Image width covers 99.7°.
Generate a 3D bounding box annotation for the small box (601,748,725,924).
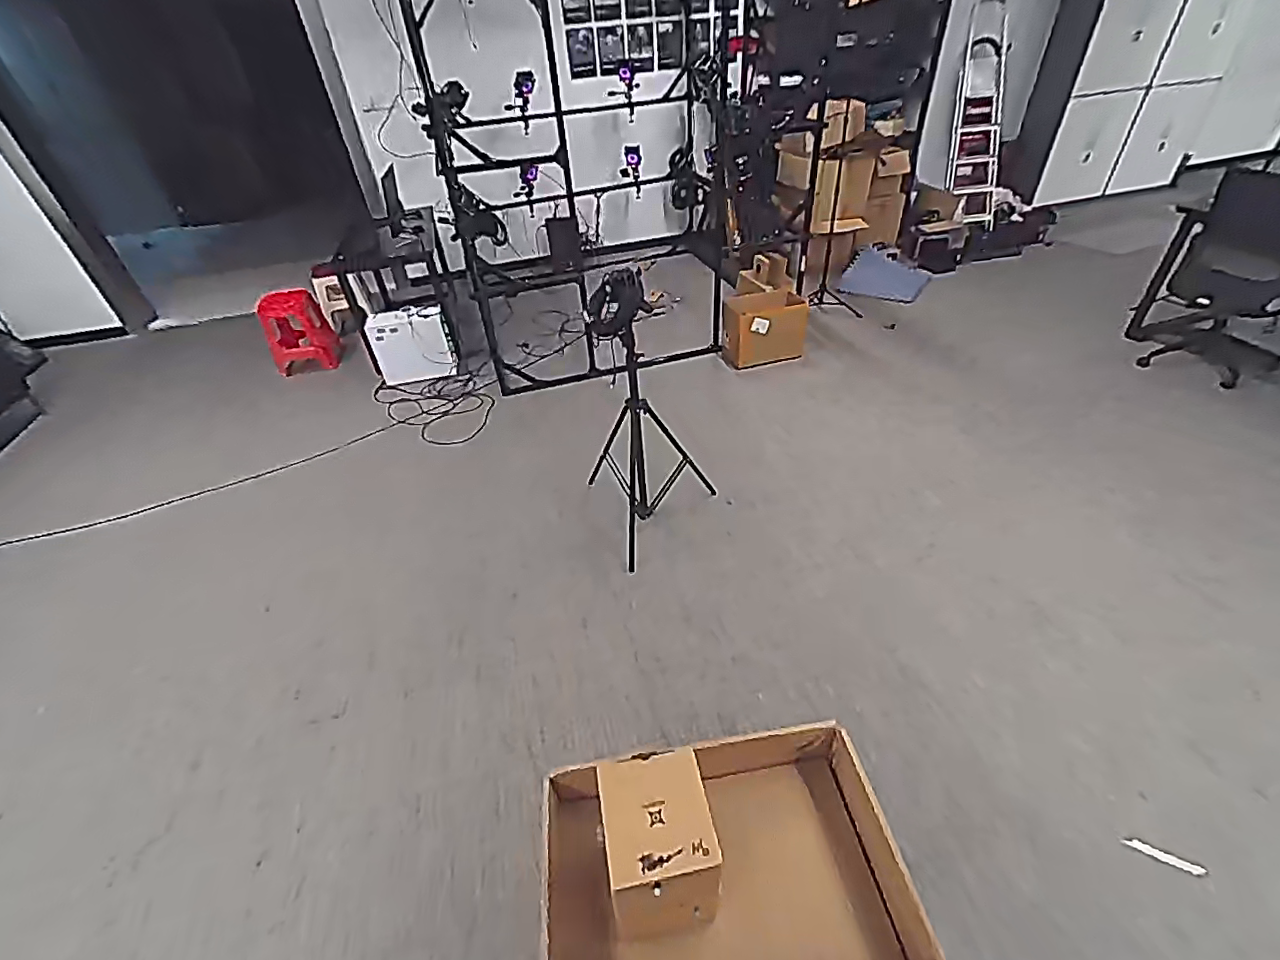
[{"bbox_3d":[0.031,0.574,0.877,0.168,0.176,0.179,-9,38,-7],"label":"small box"}]
